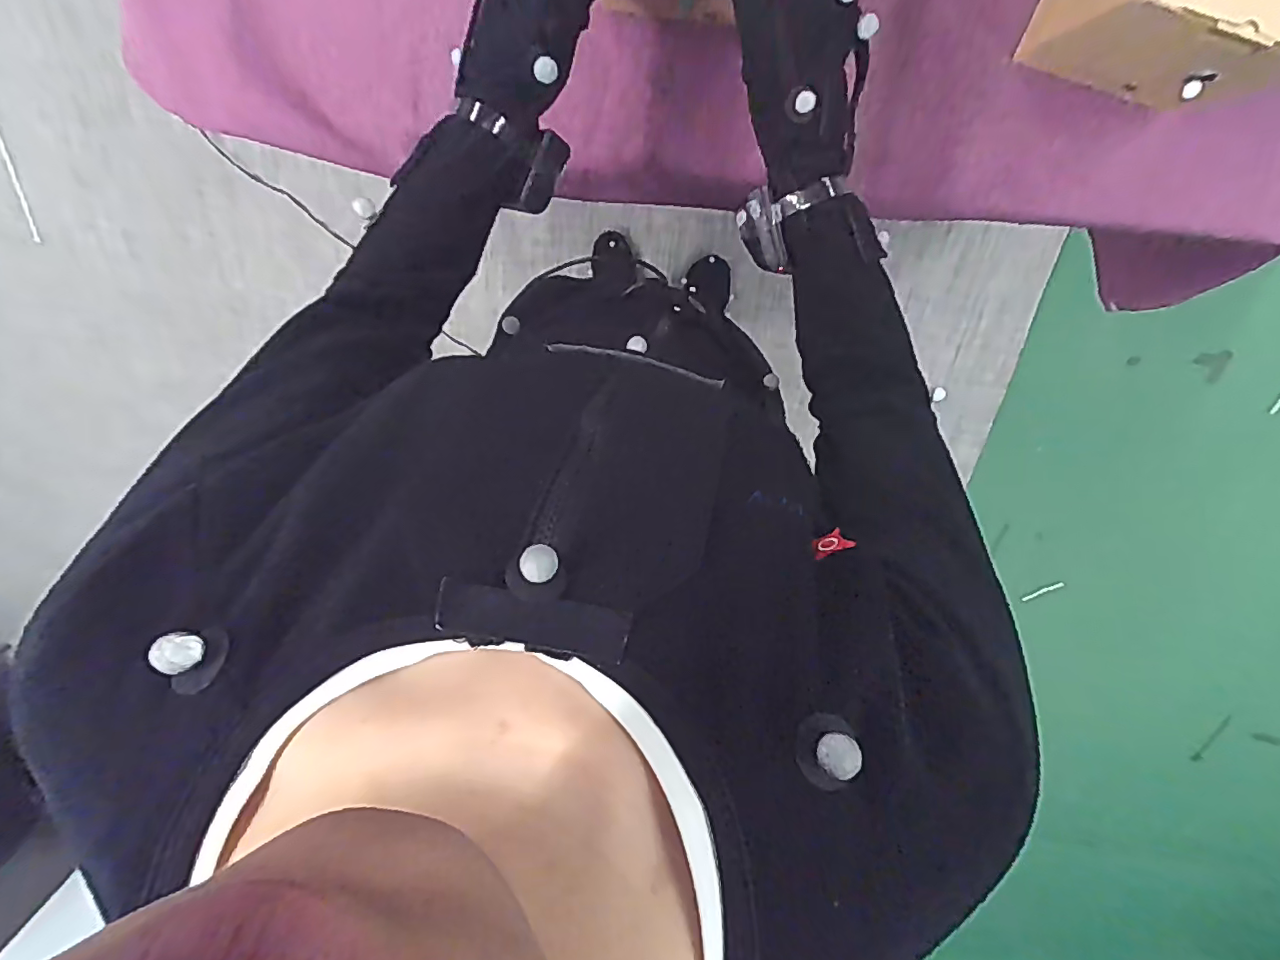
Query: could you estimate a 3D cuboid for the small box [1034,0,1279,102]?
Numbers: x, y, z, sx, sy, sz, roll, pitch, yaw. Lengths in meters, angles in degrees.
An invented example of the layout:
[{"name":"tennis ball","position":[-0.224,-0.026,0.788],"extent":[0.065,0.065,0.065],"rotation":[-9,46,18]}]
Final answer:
[{"name":"small box","position":[0.452,-0.420,0.411],"extent":[0.168,0.176,0.179],"rotation":[16,116,-3]}]
